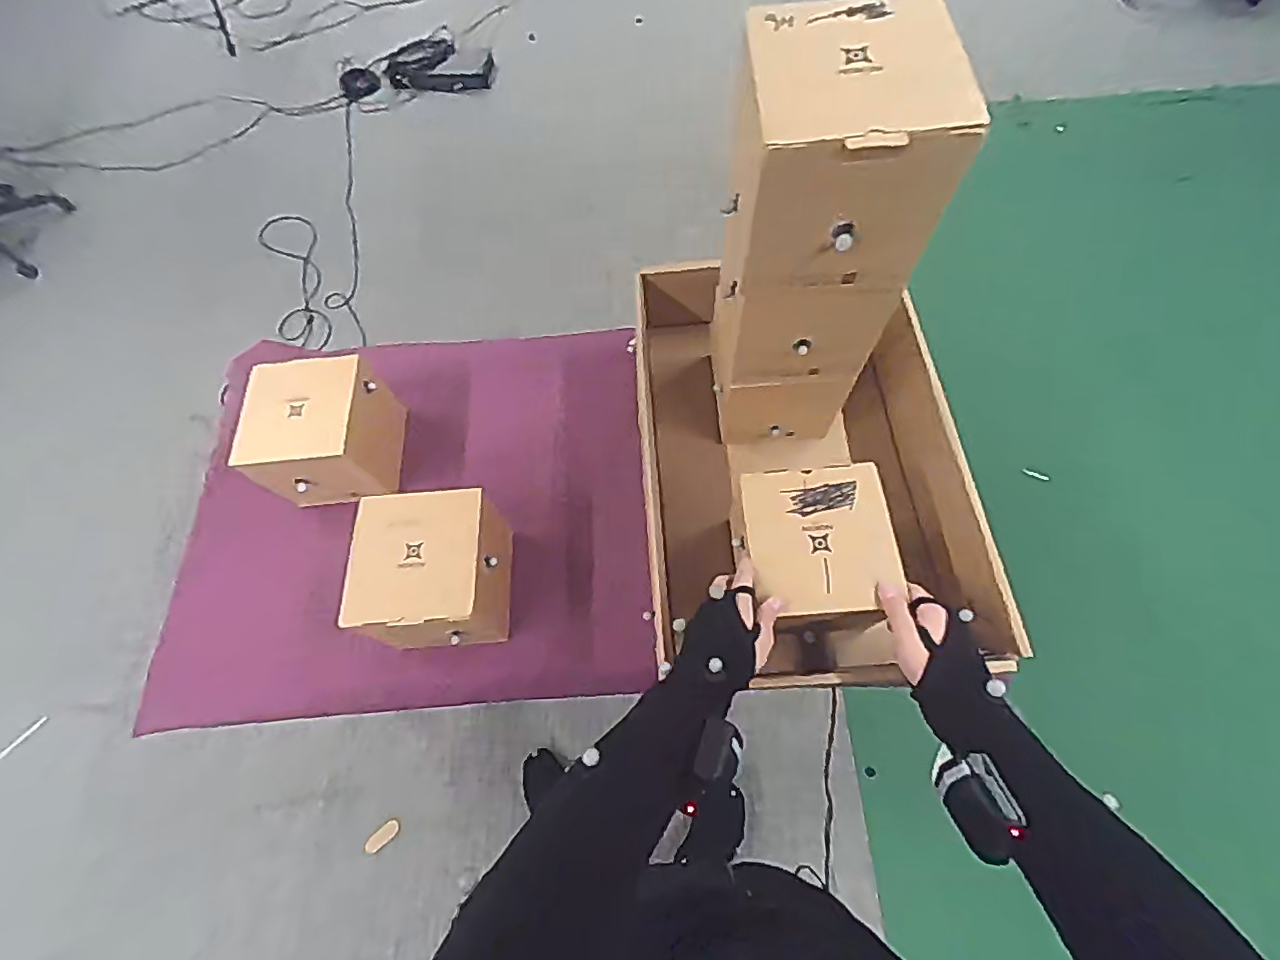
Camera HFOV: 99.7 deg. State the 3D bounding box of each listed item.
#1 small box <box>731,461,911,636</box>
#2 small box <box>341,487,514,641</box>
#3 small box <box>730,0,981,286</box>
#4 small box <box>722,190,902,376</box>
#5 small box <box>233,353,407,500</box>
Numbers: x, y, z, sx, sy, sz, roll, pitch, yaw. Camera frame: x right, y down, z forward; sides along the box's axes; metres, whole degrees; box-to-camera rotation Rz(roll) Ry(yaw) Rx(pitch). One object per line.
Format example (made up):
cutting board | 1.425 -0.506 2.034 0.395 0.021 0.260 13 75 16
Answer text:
small box | 0.211 0.094 0.689 0.168 0.176 0.179 -5 66 3
small box | -0.281 0.126 0.759 0.168 0.176 0.179 -3 64 1
small box | 0.177 -0.301 0.507 0.168 0.176 0.179 -2 68 3
small box | 0.192 -0.239 0.658 0.168 0.176 0.179 -2 67 3
small box | -0.494 -0.075 0.865 0.168 0.176 0.179 -6 64 1
